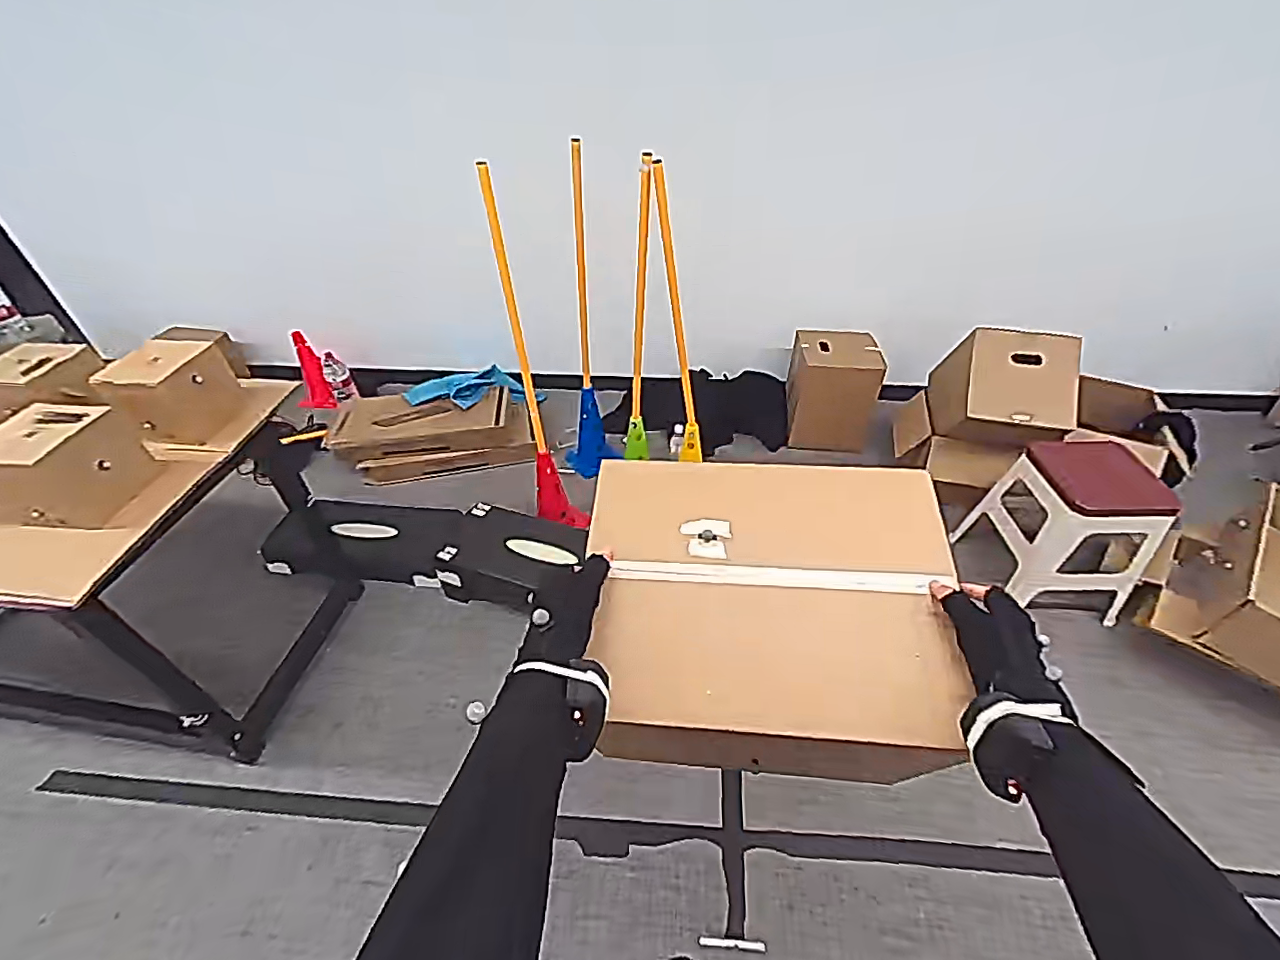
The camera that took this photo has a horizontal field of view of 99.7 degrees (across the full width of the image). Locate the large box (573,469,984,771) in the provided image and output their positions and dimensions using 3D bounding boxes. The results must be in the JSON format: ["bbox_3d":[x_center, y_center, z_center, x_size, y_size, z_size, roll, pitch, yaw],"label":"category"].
[{"bbox_3d":[0.152,0.198,0.731,0.408,0.320,0.320,2,55,6],"label":"large box"}]
